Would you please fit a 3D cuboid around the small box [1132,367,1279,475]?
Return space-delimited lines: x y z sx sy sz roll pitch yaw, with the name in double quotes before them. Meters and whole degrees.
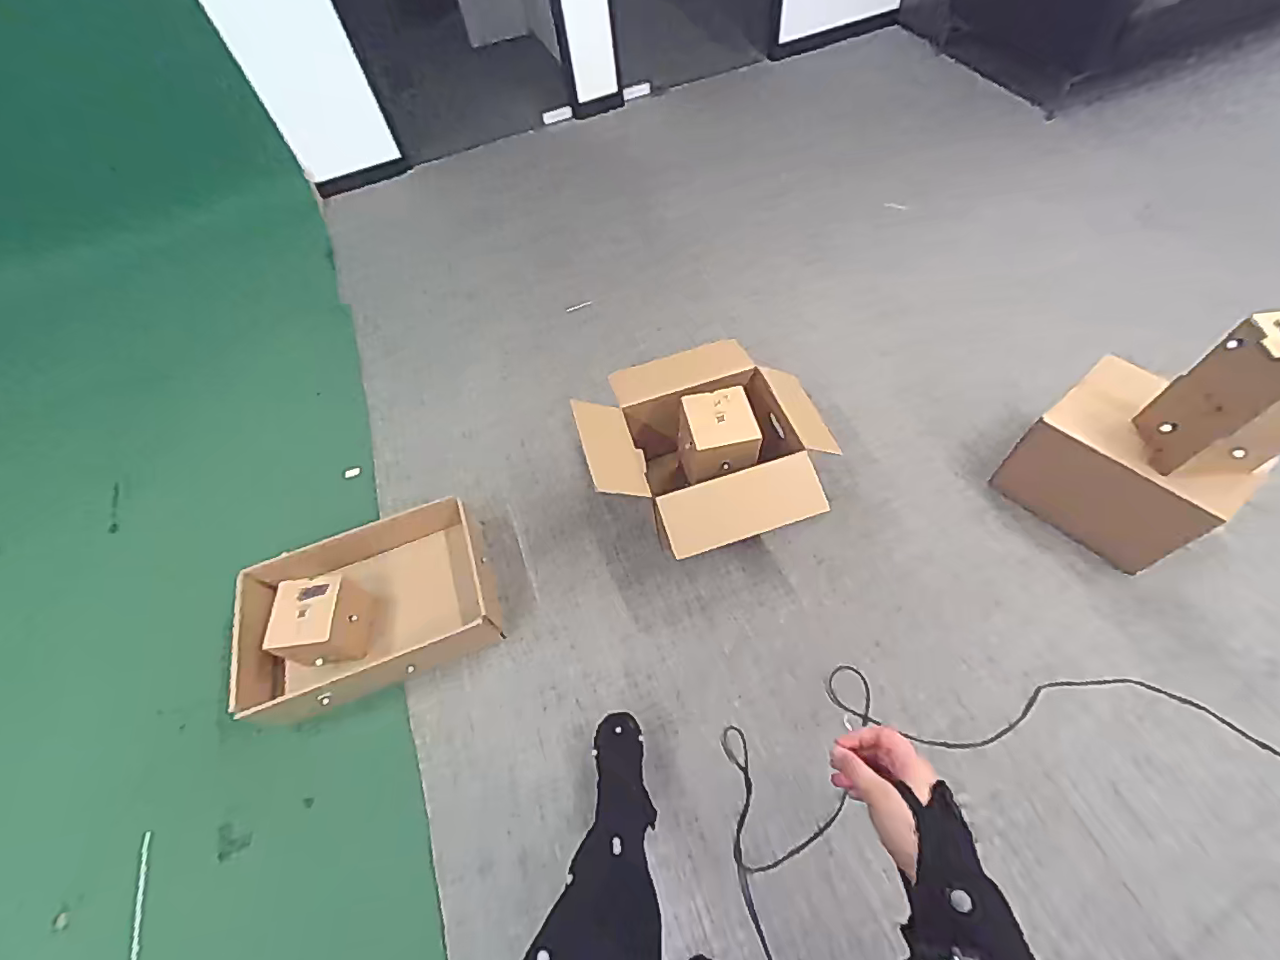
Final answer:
"small box" 1.237 -0.123 1.180 0.179 0.176 0.168 -4 58 6

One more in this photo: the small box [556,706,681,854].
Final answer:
"small box" -0.037 0.620 1.130 0.179 0.176 0.168 -43 20 -24

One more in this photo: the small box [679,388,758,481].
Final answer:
"small box" 0.201 -0.113 1.431 0.168 0.176 0.179 -11 58 -5

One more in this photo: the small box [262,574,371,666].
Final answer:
"small box" -0.825 0.365 1.402 0.168 0.176 0.179 -7 57 1
